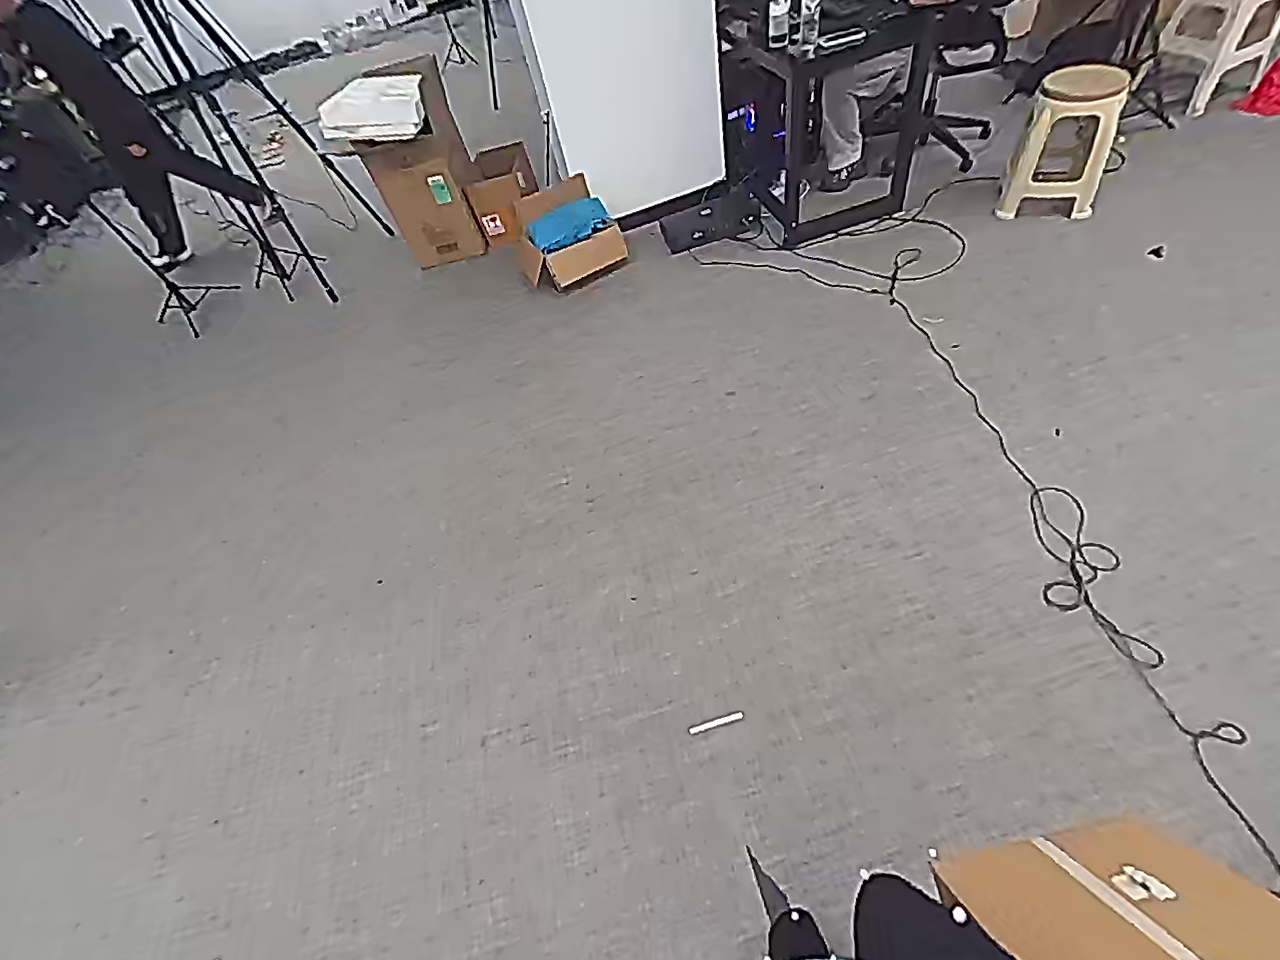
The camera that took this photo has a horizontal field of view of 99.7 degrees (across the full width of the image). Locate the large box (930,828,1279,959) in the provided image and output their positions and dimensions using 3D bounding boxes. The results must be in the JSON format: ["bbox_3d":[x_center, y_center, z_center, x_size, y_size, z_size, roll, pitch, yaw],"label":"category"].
[{"bbox_3d":[0.602,0.661,0.581,0.320,0.408,0.320,-12,81,1],"label":"large box"}]
